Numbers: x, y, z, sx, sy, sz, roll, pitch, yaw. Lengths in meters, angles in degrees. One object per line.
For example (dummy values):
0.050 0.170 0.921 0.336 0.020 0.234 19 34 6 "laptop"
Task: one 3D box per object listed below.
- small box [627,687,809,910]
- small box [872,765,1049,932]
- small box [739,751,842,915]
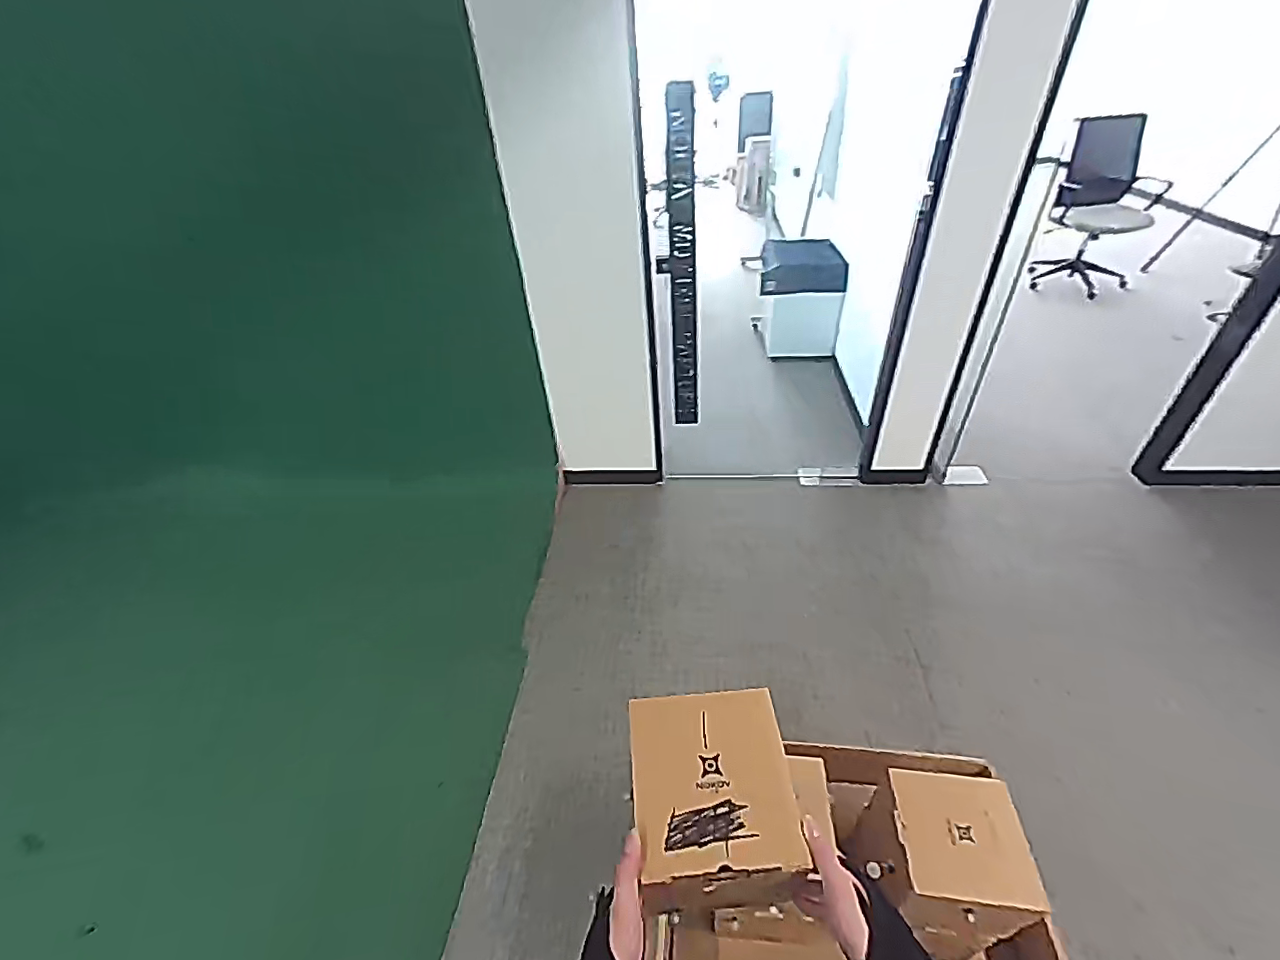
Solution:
0.074 0.360 0.609 0.168 0.176 0.179 -4 41 -2 "small box"
0.471 0.568 0.834 0.179 0.176 0.168 4 41 8 "small box"
0.211 0.556 0.865 0.168 0.176 0.179 2 39 7 "small box"
